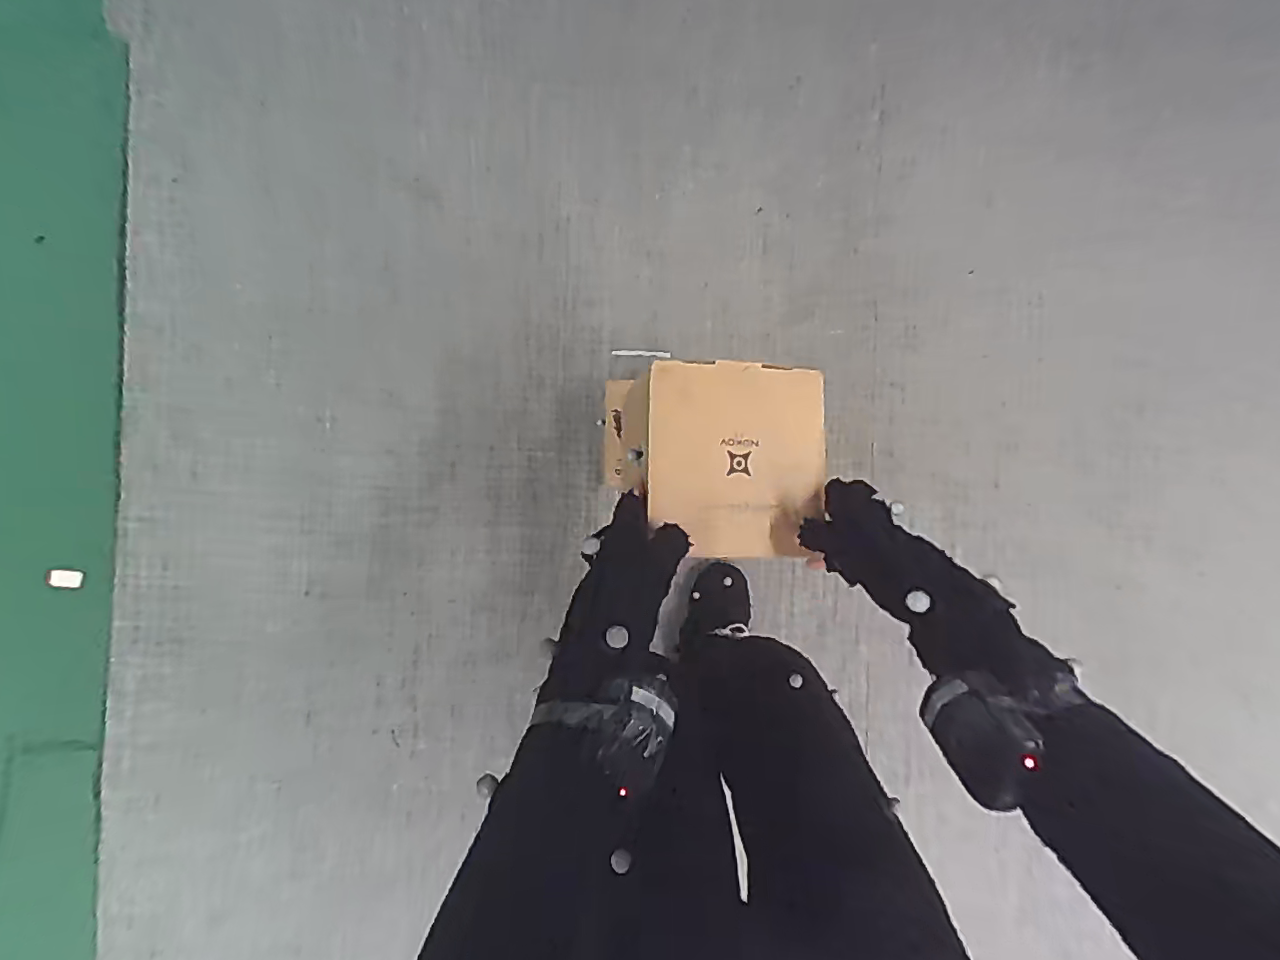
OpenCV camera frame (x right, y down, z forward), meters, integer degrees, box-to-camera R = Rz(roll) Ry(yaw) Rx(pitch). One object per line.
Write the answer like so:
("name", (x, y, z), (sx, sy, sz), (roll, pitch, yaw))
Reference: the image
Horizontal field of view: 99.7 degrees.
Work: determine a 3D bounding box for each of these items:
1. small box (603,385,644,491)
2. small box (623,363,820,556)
("small box", (0.029, -0.063, 0.920), (0.179, 0.176, 0.168), (1, 89, -6))
("small box", (0.073, -0.011, 0.572), (0.168, 0.176, 0.179), (1, 86, -9))
